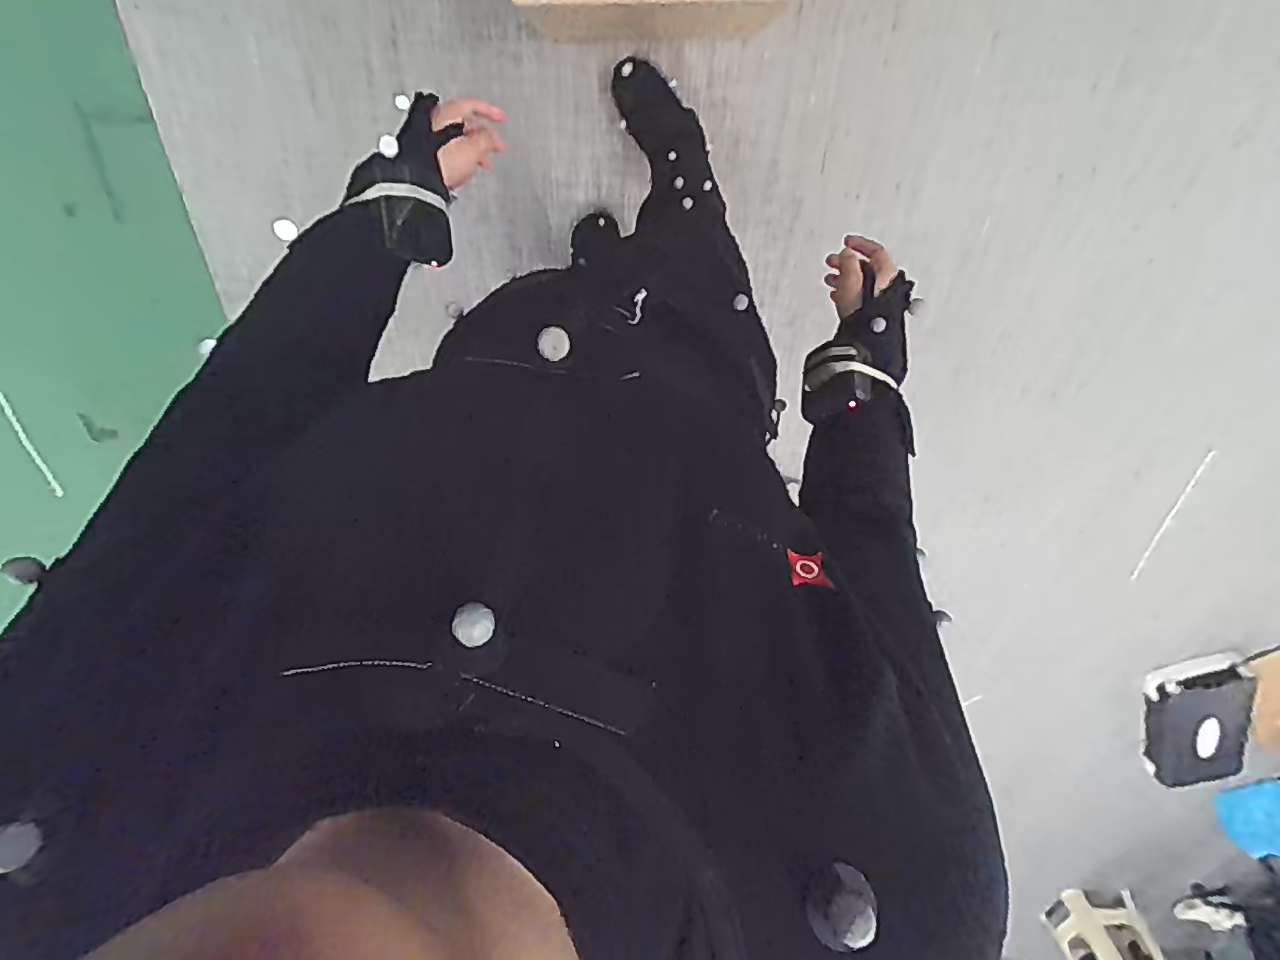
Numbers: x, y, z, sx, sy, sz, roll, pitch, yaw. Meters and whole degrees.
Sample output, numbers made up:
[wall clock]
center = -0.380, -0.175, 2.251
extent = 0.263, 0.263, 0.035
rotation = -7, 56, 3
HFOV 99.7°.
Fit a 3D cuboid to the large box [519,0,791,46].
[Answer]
[large box]
center = 0.018, -0.870, 0.799
extent = 0.408, 0.320, 0.320
rotation = -2, 122, 0
